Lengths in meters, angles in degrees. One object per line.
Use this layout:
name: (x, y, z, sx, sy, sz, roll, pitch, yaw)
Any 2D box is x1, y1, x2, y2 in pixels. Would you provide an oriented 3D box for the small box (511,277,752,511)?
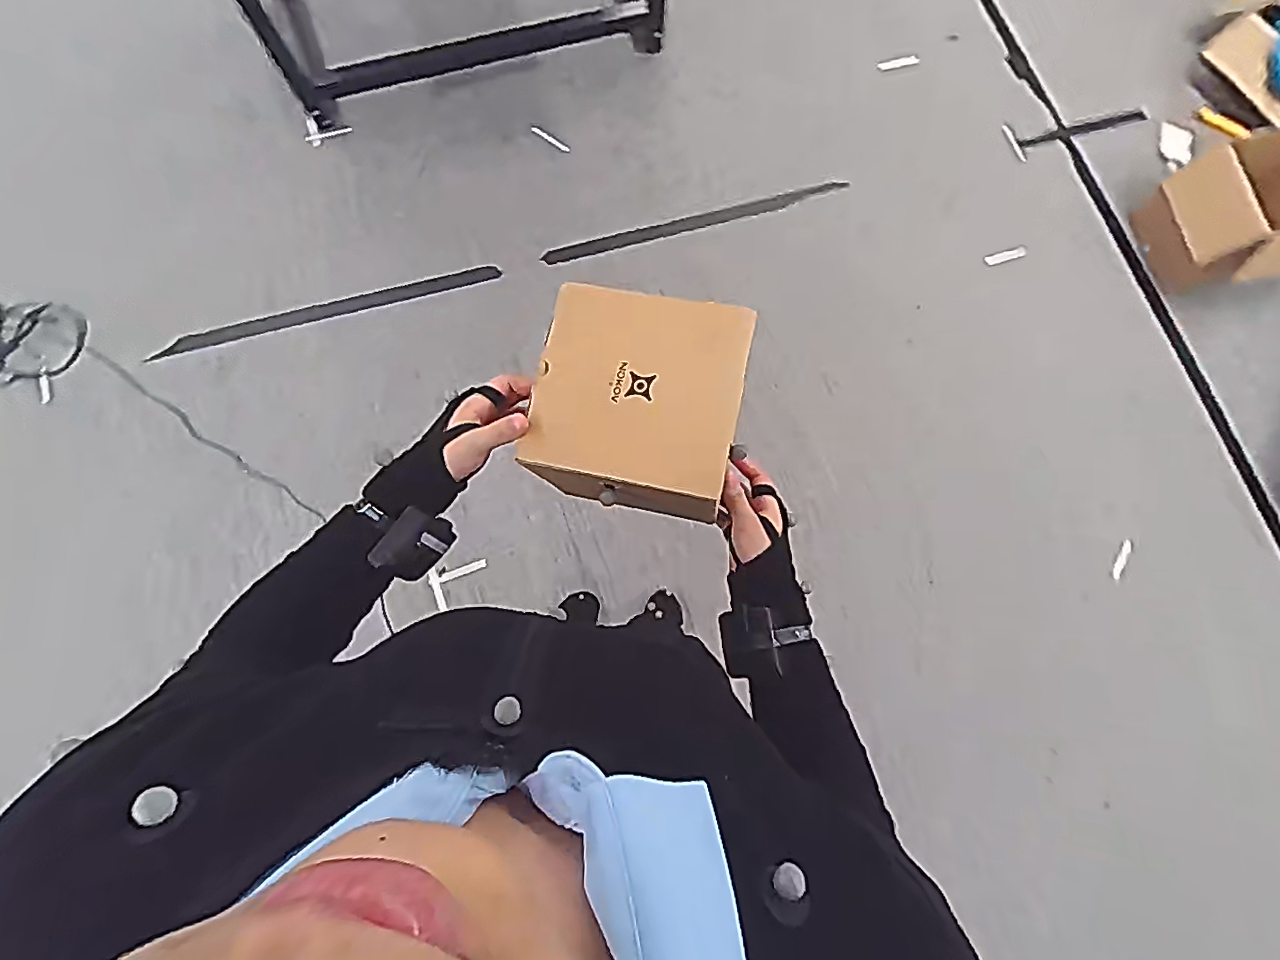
small box: (0.003, -0.069, 0.523, 0.179, 0.176, 0.168, 10, 81, 10)
